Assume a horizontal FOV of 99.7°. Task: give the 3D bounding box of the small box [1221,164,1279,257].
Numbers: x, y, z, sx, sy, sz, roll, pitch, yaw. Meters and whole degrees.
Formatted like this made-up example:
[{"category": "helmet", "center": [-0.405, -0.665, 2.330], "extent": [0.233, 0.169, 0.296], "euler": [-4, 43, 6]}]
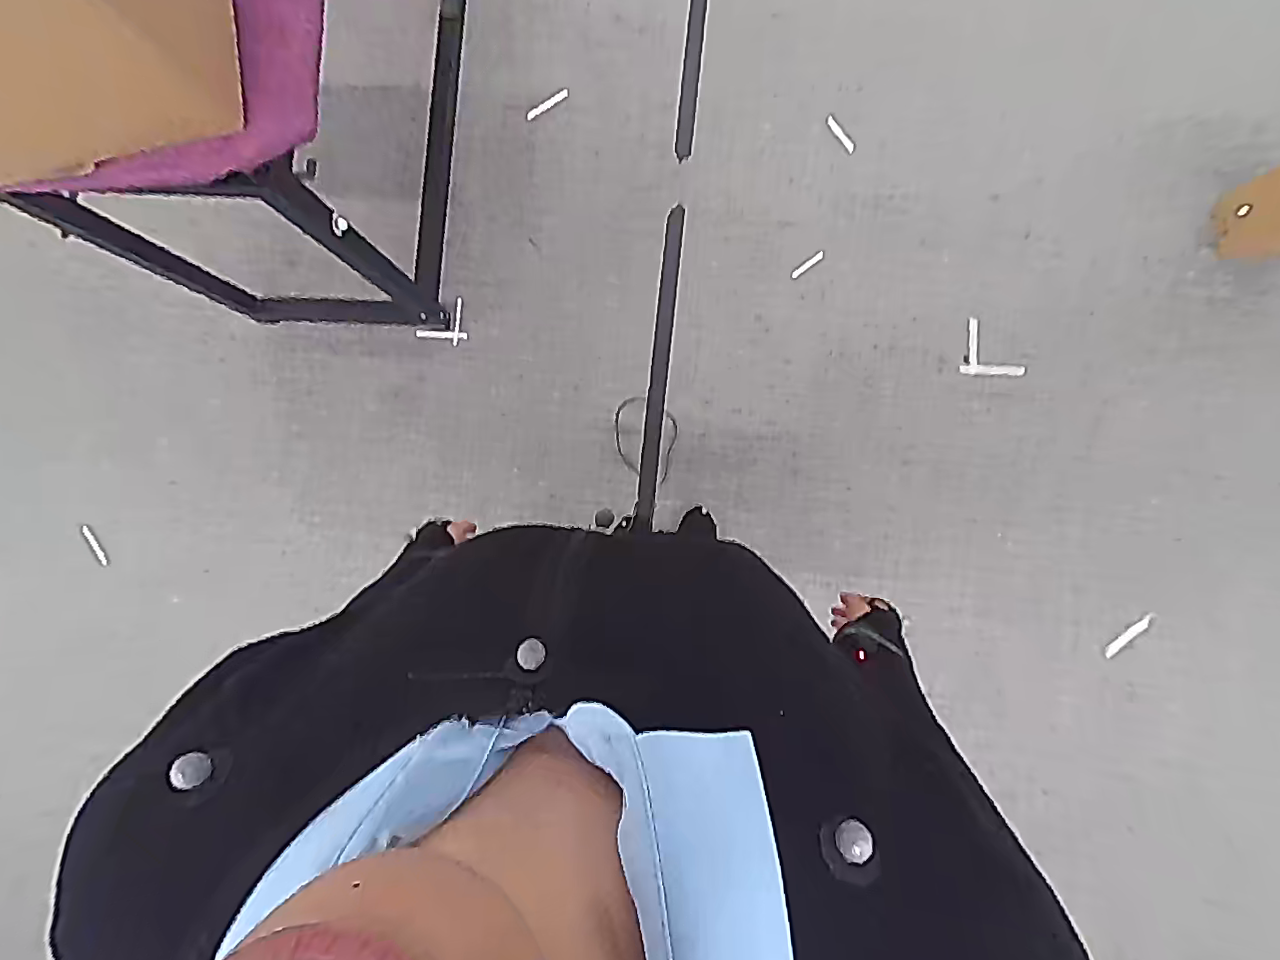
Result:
[{"category": "small box", "center": [1.665, -0.692, 1.394], "extent": [0.179, 0.176, 0.168], "euler": [1, 87, 2]}]
